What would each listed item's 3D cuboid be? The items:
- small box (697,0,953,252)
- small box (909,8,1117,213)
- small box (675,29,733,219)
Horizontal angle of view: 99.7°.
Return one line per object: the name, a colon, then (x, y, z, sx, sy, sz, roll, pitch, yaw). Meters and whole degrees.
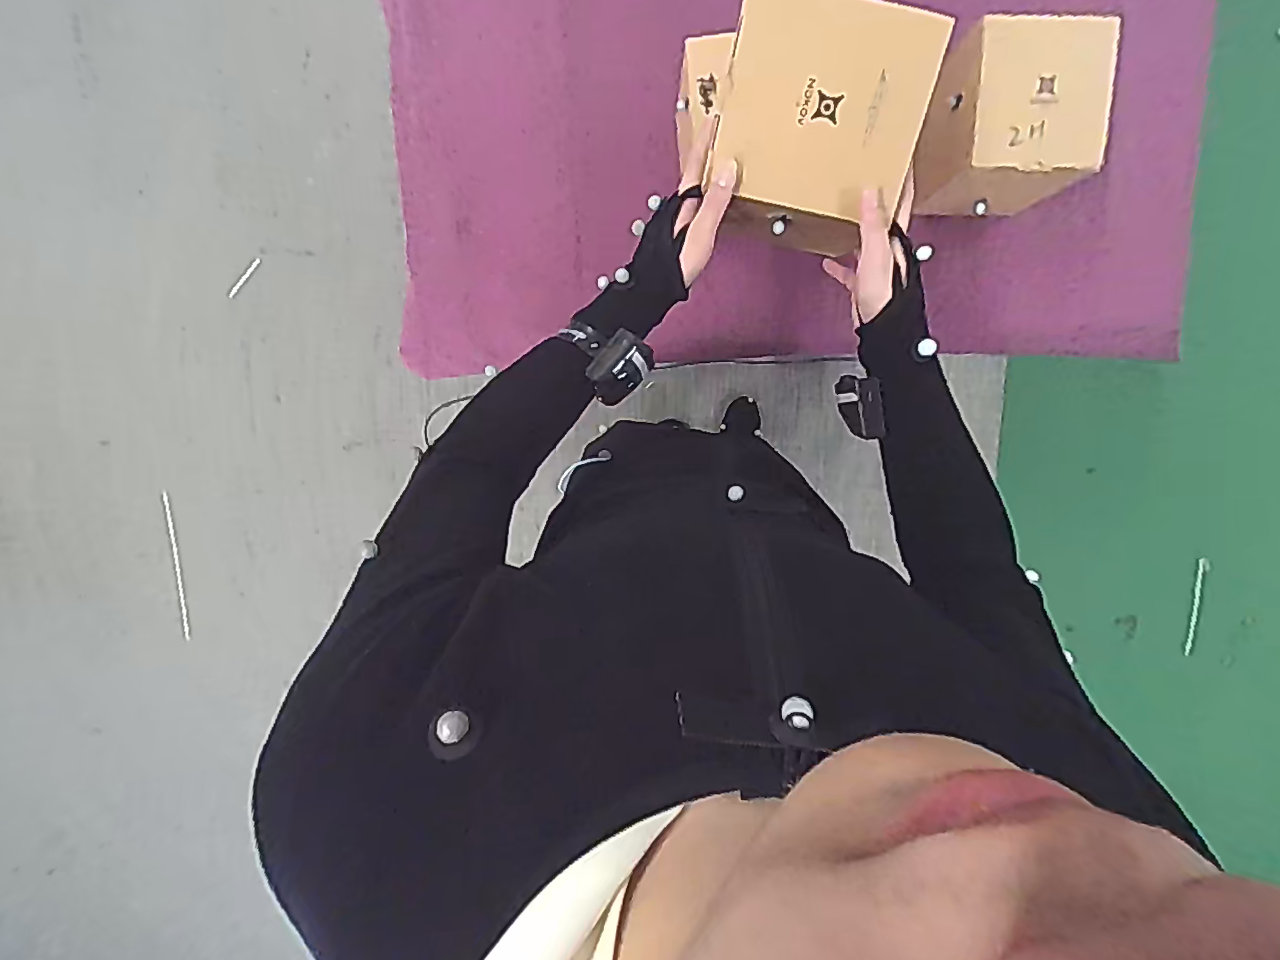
small box: (0.160, -0.340, 0.539, 0.179, 0.176, 0.168, 14, 105, 0)
small box: (0.491, -0.489, 0.740, 0.168, 0.176, 0.179, 1, 98, 1)
small box: (0.146, -0.477, 0.744, 0.179, 0.176, 0.168, -5, 98, 1)
